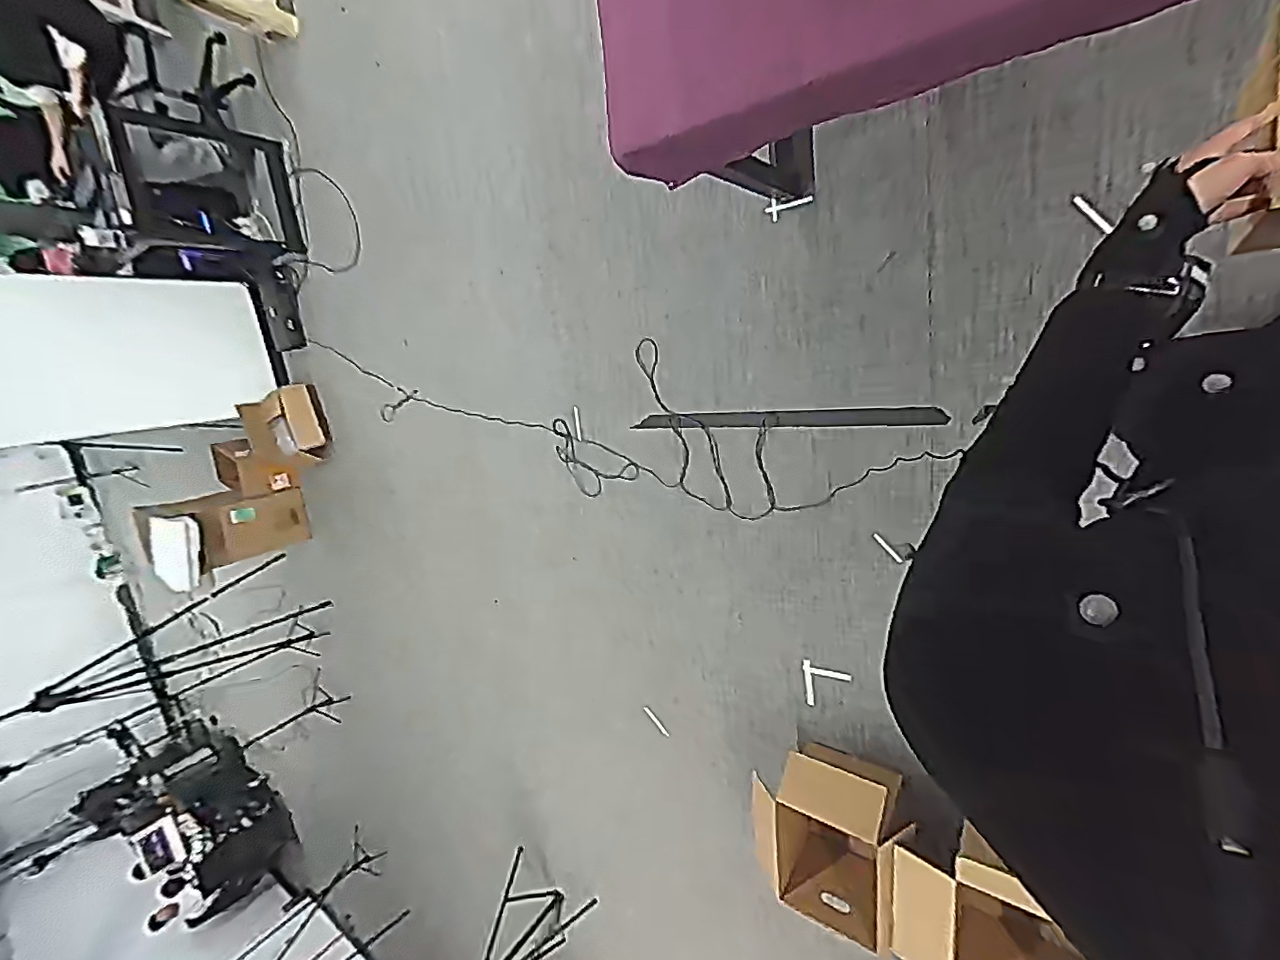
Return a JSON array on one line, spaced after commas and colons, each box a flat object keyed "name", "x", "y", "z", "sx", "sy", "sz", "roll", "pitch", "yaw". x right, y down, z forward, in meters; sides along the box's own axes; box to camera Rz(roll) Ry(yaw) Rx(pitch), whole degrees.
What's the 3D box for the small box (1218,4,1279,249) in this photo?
[{"name": "small box", "x": 0.653, "y": -0.322, "z": 0.482, "sx": 0.168, "sy": 0.176, "sz": 0.179, "roll": 2, "pitch": 95, "yaw": 39}]
